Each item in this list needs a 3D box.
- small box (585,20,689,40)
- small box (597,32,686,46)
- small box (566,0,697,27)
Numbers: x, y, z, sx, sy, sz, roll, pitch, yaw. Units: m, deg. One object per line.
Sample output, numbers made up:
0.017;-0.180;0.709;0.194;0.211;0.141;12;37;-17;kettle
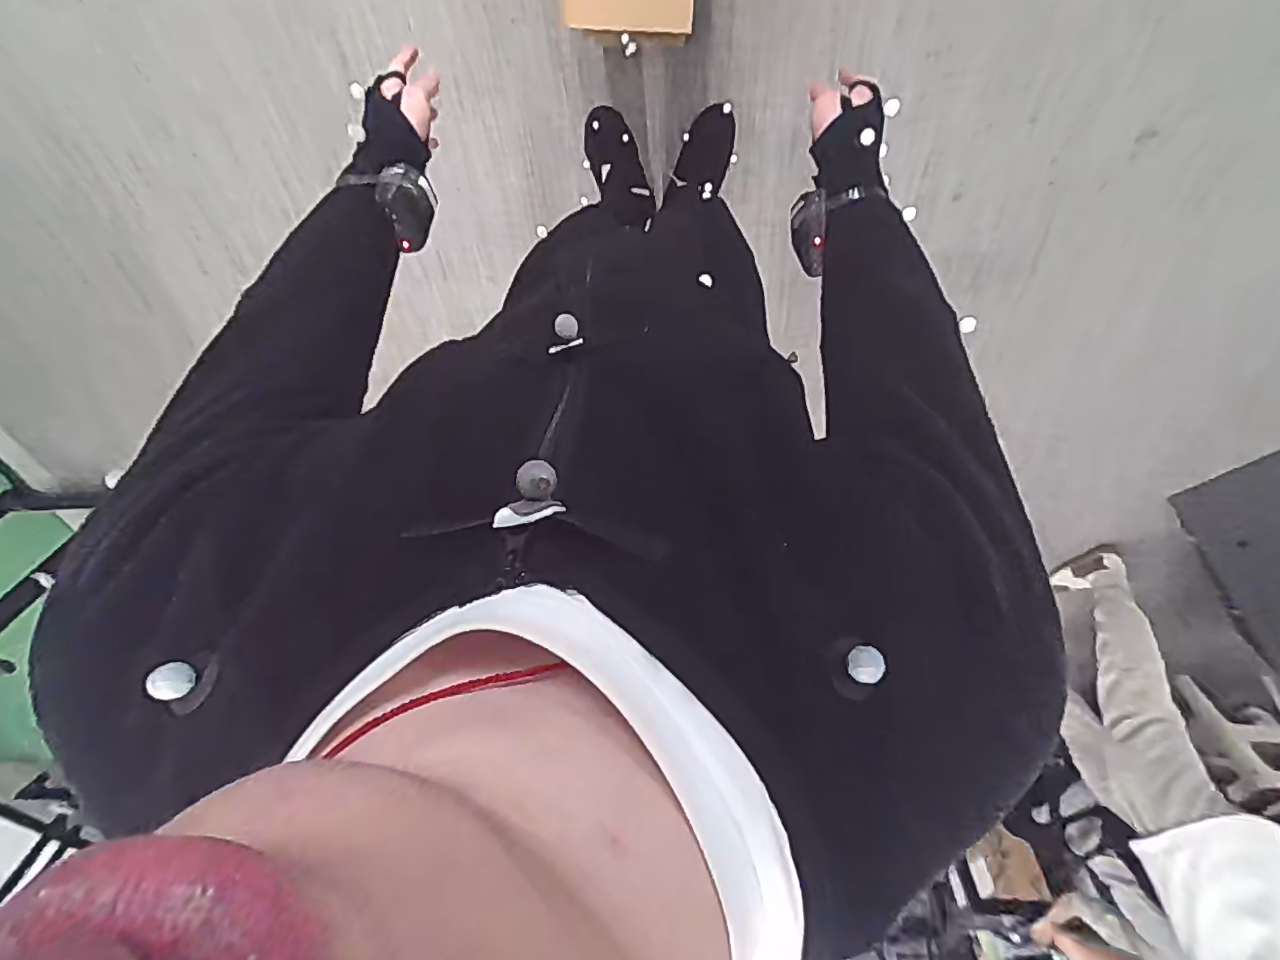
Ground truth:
0.003;-0.823;0.864;0.168;0.176;0.179;4;130;0;small box
0.009;-0.920;0.998;0.168;0.176;0.179;3;129;0;small box
-0.006;-0.728;0.734;0.179;0.176;0.168;2;131;0;small box
